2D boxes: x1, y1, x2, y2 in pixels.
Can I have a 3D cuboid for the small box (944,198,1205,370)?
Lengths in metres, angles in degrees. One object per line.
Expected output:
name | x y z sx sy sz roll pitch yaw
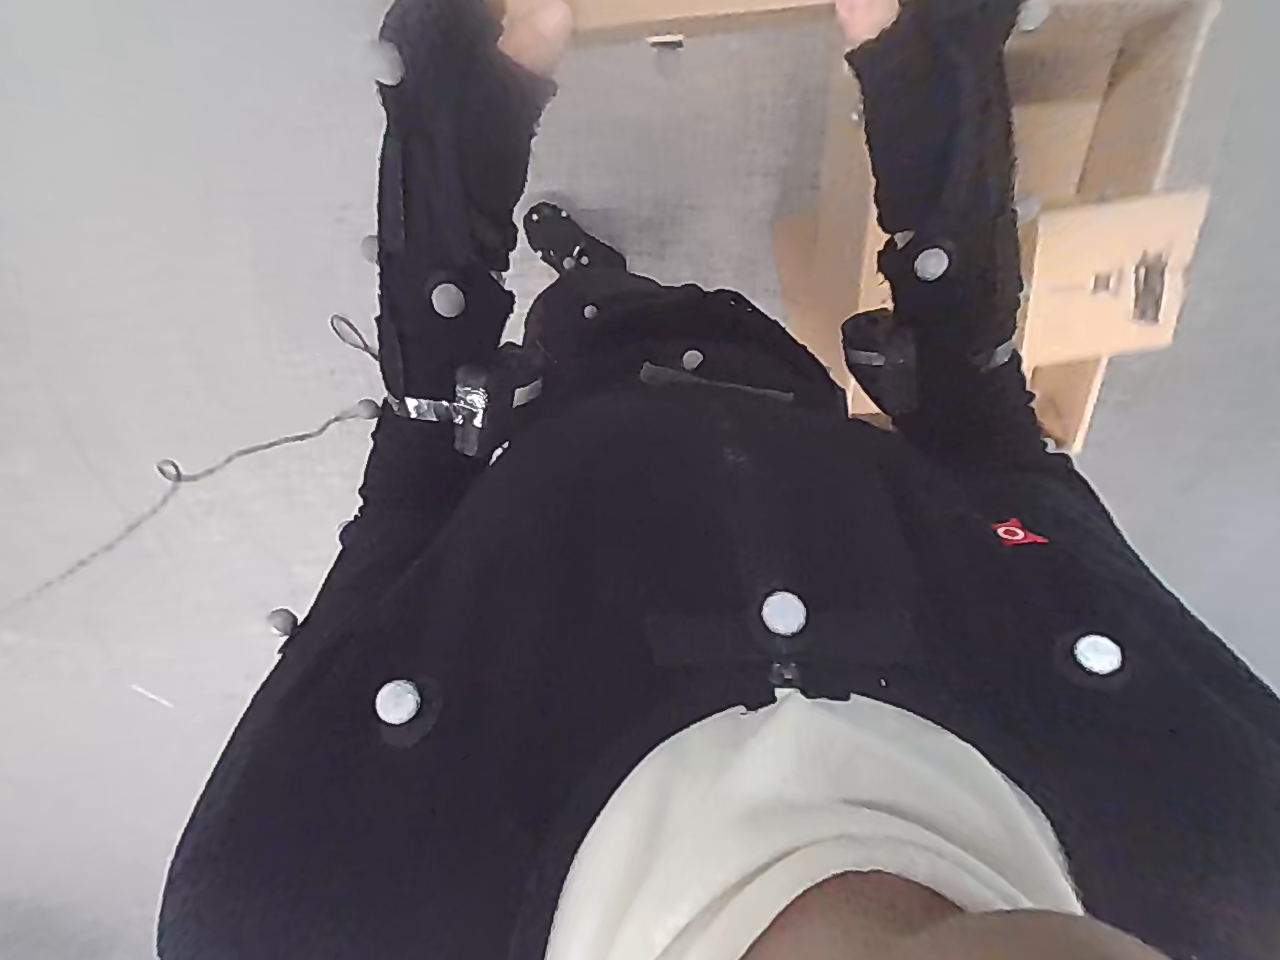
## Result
small box | 0.516 -0.245 0.674 0.179 0.176 0.168 -8 113 3

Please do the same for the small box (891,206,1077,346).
small box | 0.511 -0.311 0.824 0.179 0.176 0.168 -9 112 2

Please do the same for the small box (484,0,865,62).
small box | 0.010 -0.303 0.233 0.168 0.176 0.179 -6 126 2
